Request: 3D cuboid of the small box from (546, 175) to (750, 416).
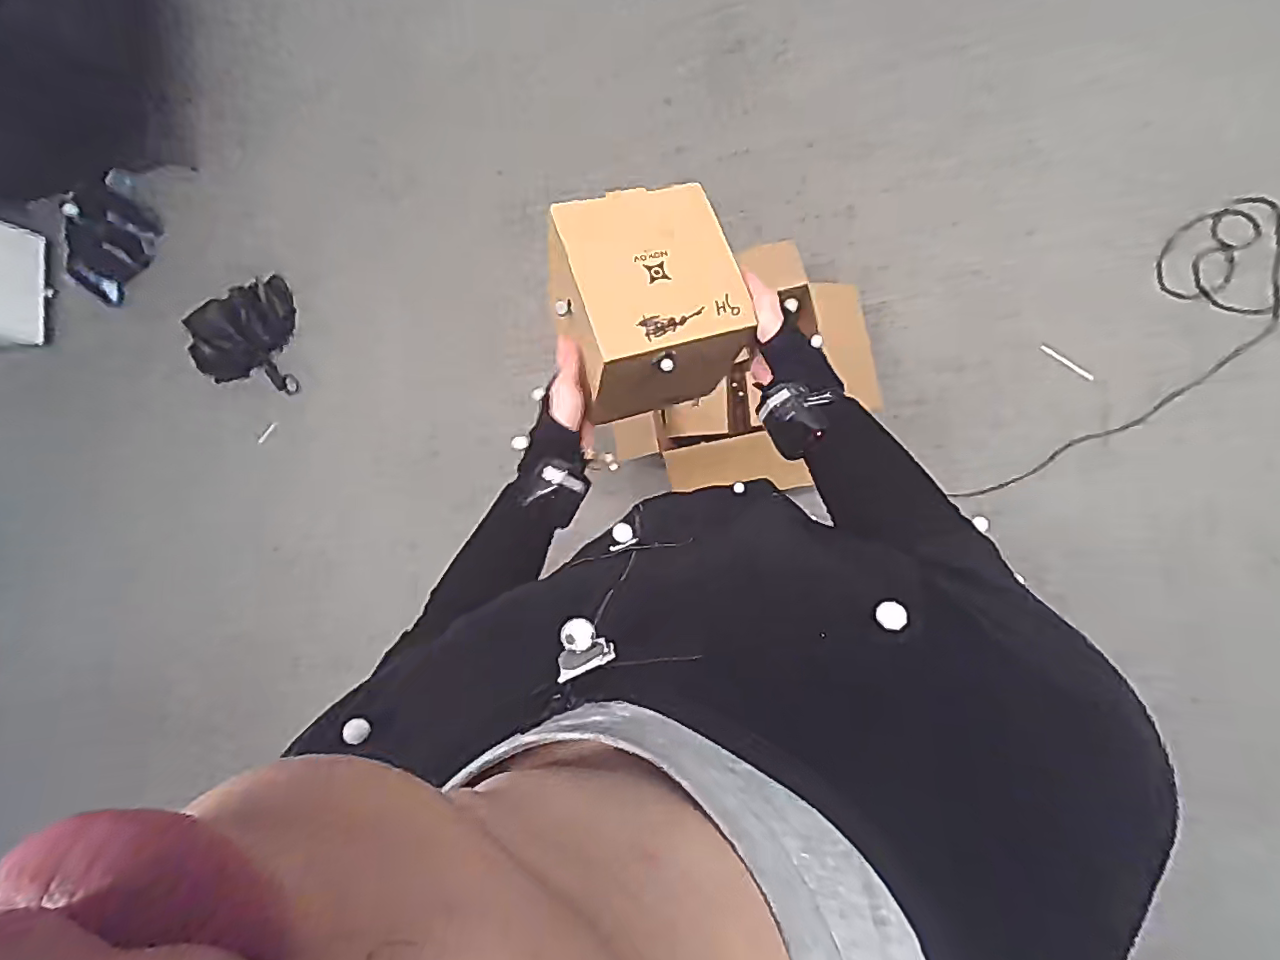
[{"bbox_3d":[-0.002,-0.197,0.608,0.168,0.176,0.179,-16,76,-9],"label":"small box"}]
